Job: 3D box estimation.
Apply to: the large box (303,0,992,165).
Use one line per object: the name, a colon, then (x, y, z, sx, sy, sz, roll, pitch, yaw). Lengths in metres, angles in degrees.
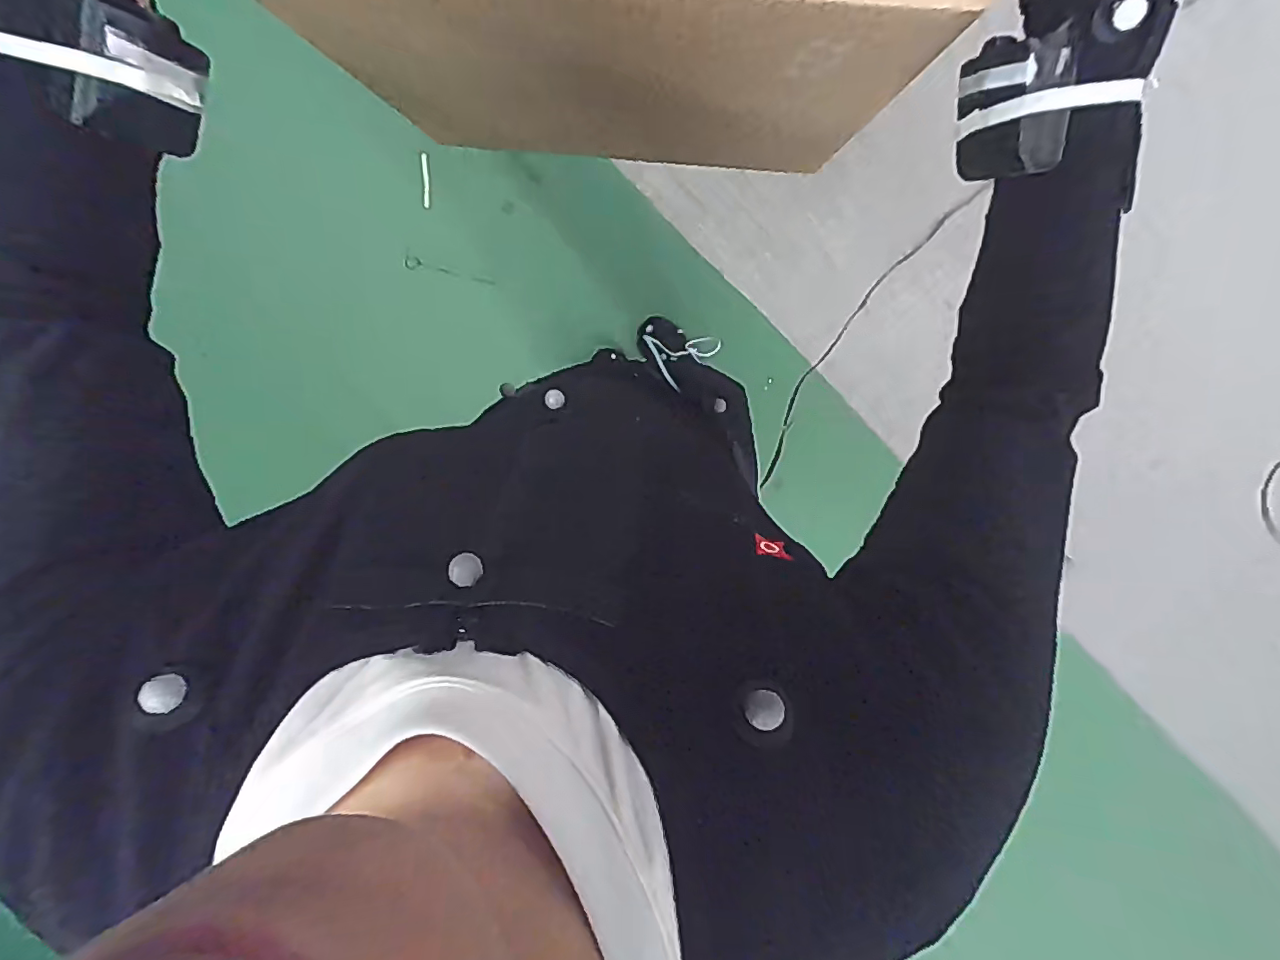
large box: (0.001, -0.447, 0.385, 0.408, 0.320, 0.320, 4, 107, -1)
